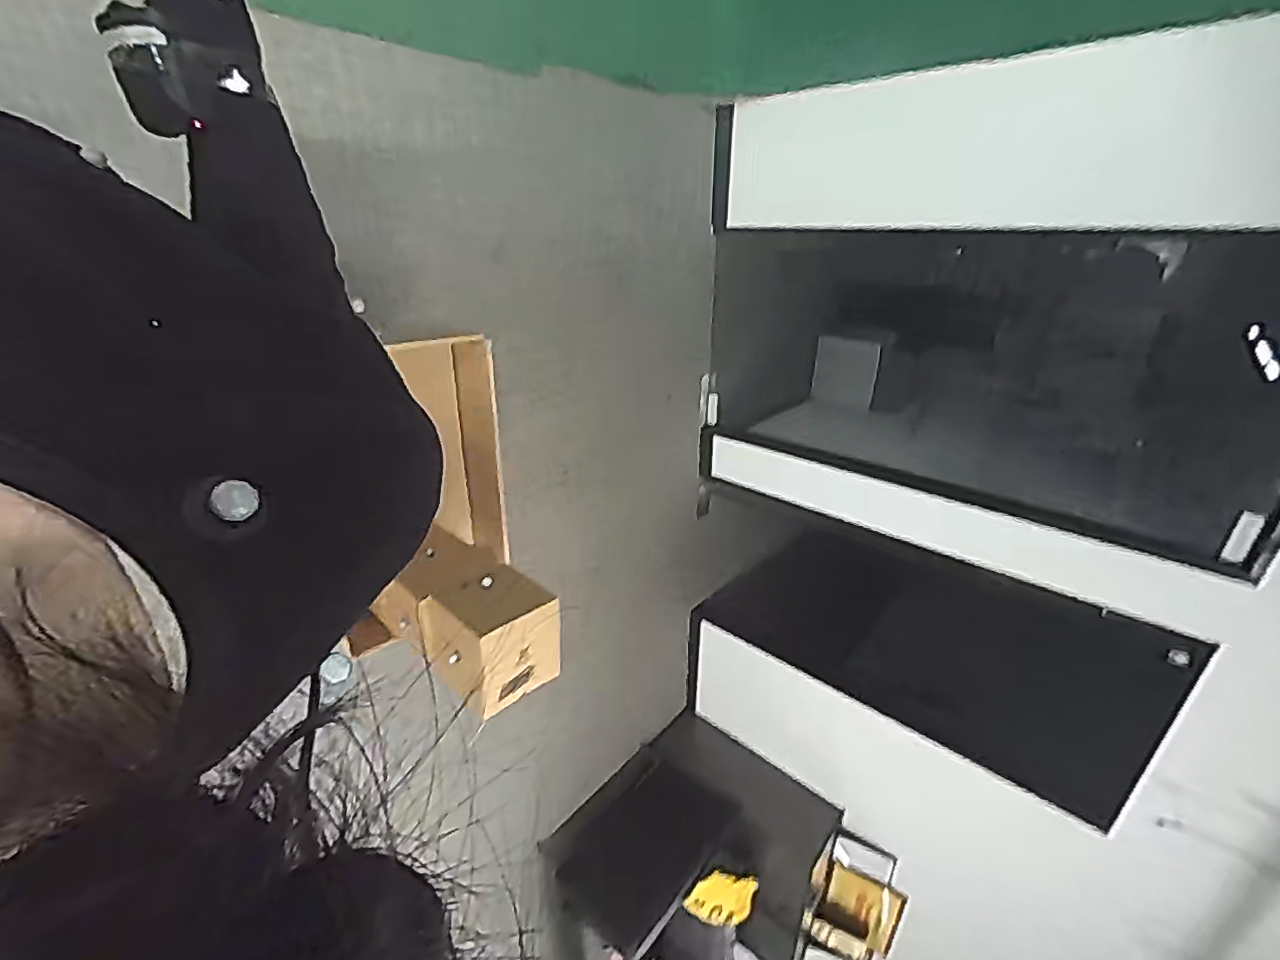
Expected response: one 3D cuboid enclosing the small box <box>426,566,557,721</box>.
[{"bbox_3d":[-0.269,0.284,0.979,0.168,0.176,0.179,-19,121,-46],"label":"small box"}]
